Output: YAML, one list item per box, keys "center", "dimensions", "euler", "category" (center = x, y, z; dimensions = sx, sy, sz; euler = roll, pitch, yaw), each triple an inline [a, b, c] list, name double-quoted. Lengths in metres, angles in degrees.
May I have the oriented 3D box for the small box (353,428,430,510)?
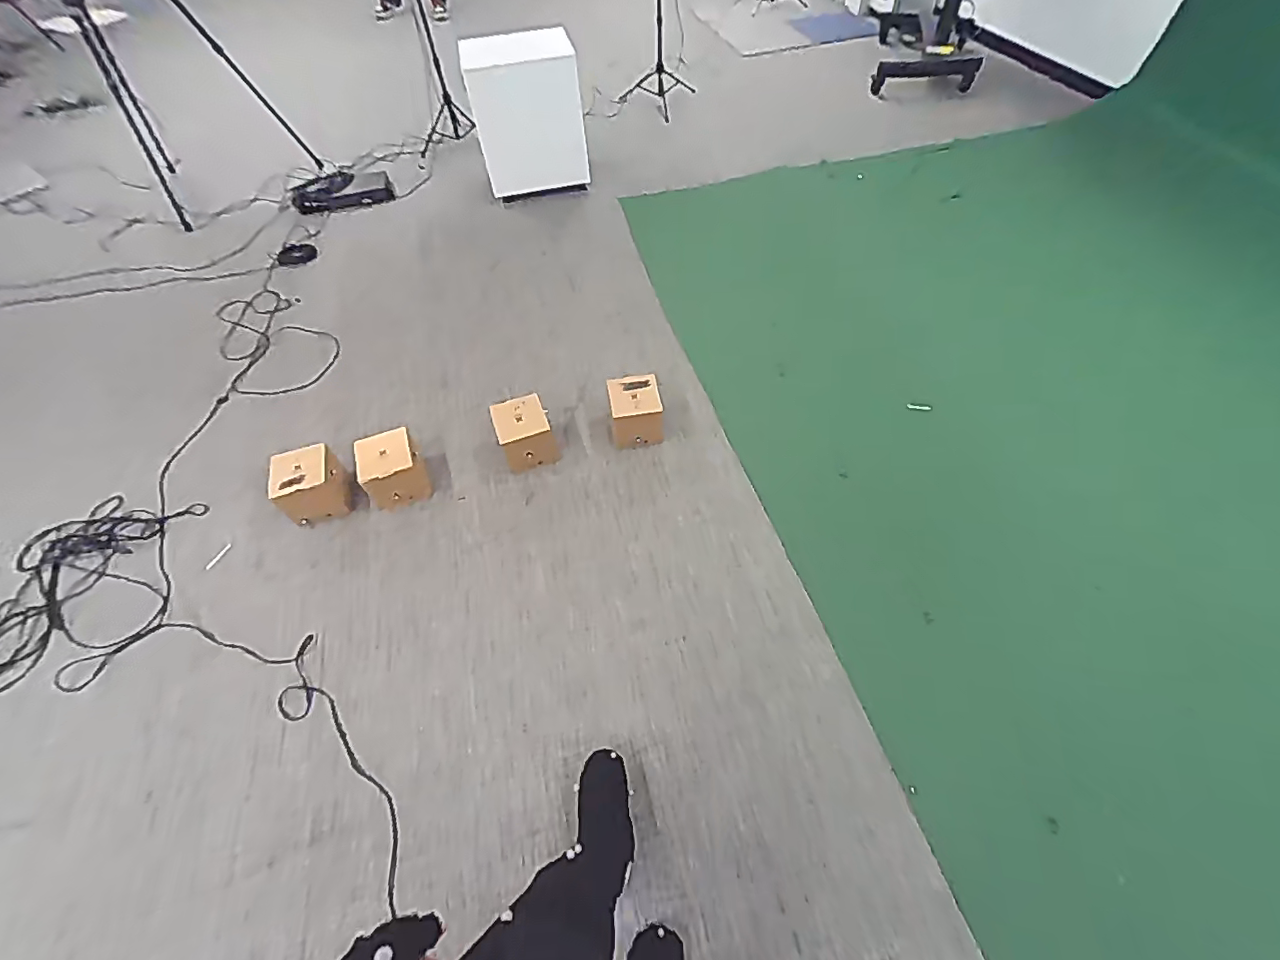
- center: [-0.795, -0.033, 1.736]
  dimensions: [0.168, 0.176, 0.179]
  euler: [-19, 57, -10]
  category: "small box"

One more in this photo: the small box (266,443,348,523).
- center: [-1.045, 0.017, 1.711]
  dimensions: [0.168, 0.176, 0.179]
  euler: [-17, 55, -9]
  category: "small box"

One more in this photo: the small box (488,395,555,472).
- center: [-0.389, -0.147, 1.800]
  dimensions: [0.168, 0.176, 0.179]
  euler: [-18, 56, -11]
  category: "small box"
